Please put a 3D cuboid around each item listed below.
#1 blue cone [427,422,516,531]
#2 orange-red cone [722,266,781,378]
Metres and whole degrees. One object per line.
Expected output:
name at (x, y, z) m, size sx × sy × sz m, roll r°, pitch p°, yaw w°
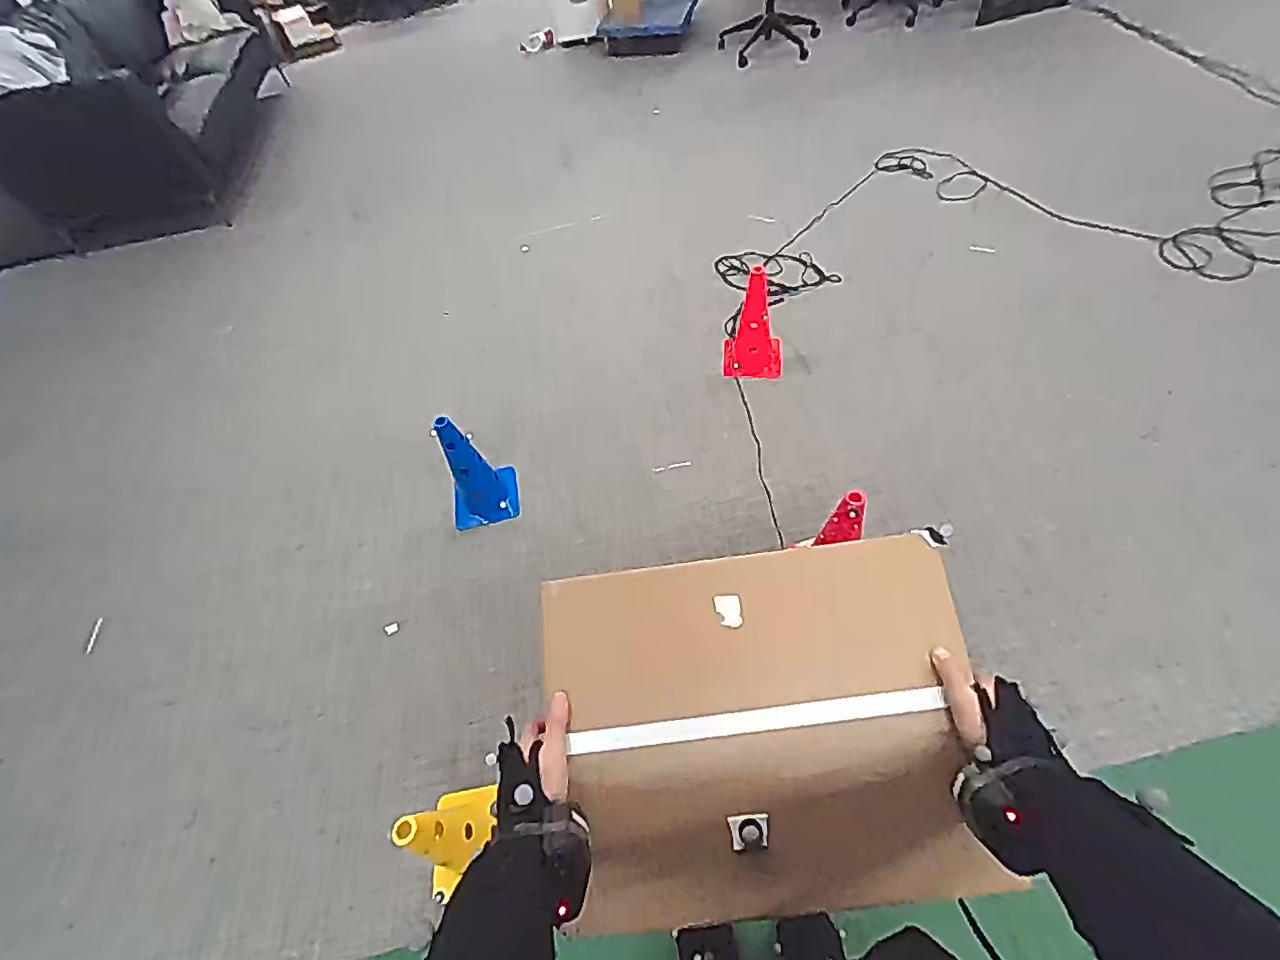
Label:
blue cone at (-0.505, -0.033, 1.556) m, size 0.192 × 0.380 × 0.193 m, roll -13°, pitch 53°, yaw 0°
orange-red cone at (0.374, -0.529, 1.756) m, size 0.199 × 0.360 × 0.198 m, roll 4°, pitch 56°, yaw 10°
